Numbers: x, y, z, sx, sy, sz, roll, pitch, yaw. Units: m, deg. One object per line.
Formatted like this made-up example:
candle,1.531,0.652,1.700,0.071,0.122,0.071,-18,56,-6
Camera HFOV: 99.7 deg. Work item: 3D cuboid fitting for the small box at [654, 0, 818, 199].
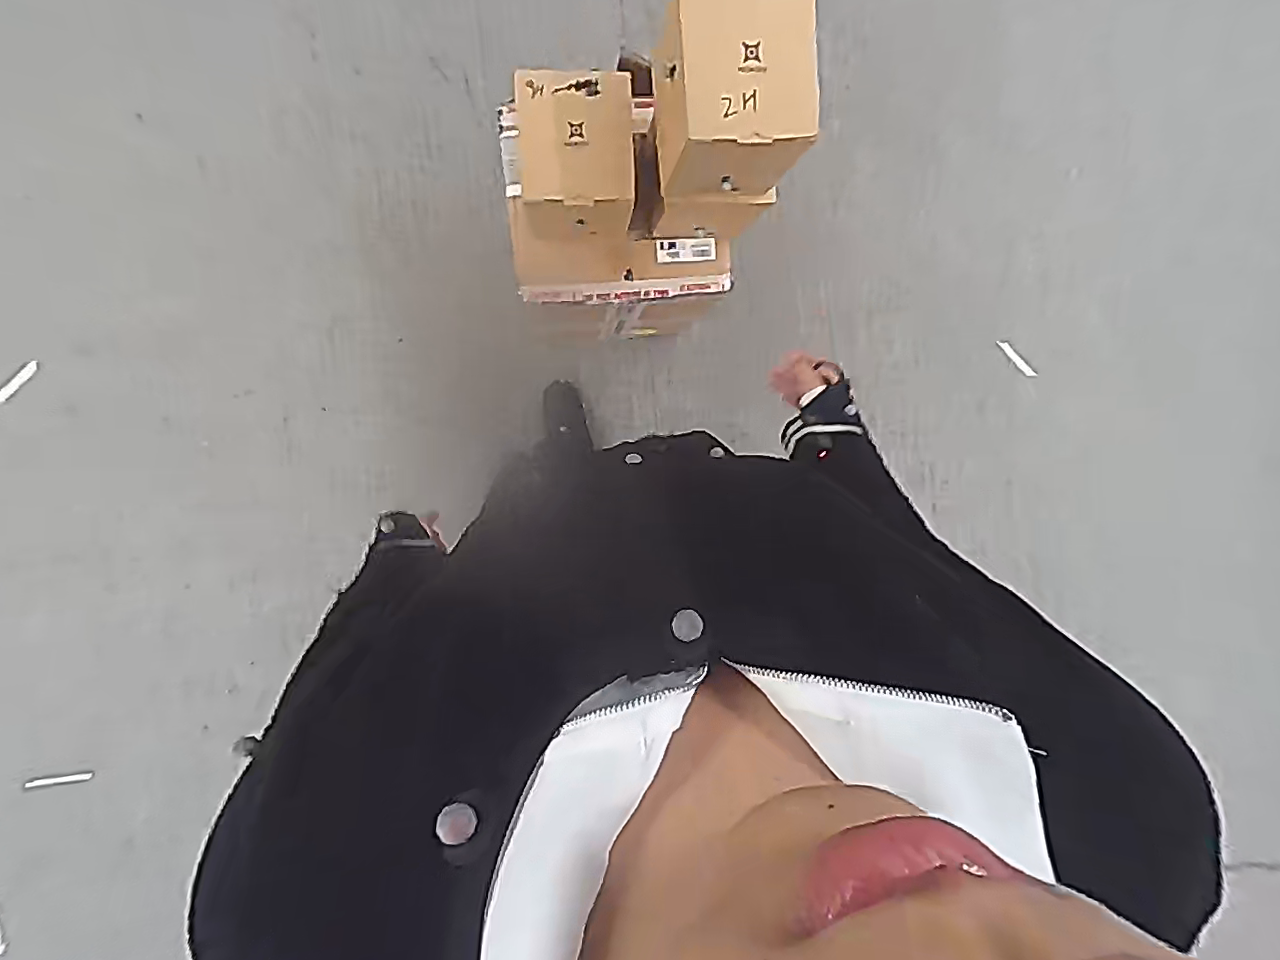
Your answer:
small box,0.116,-0.494,0.711,0.168,0.176,0.179,-6,98,-8

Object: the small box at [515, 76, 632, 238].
small box,-0.099,-0.492,0.850,0.168,0.176,0.179,-3,99,-5

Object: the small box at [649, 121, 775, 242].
small box,0.109,-0.504,0.877,0.168,0.176,0.179,-4,99,-8
